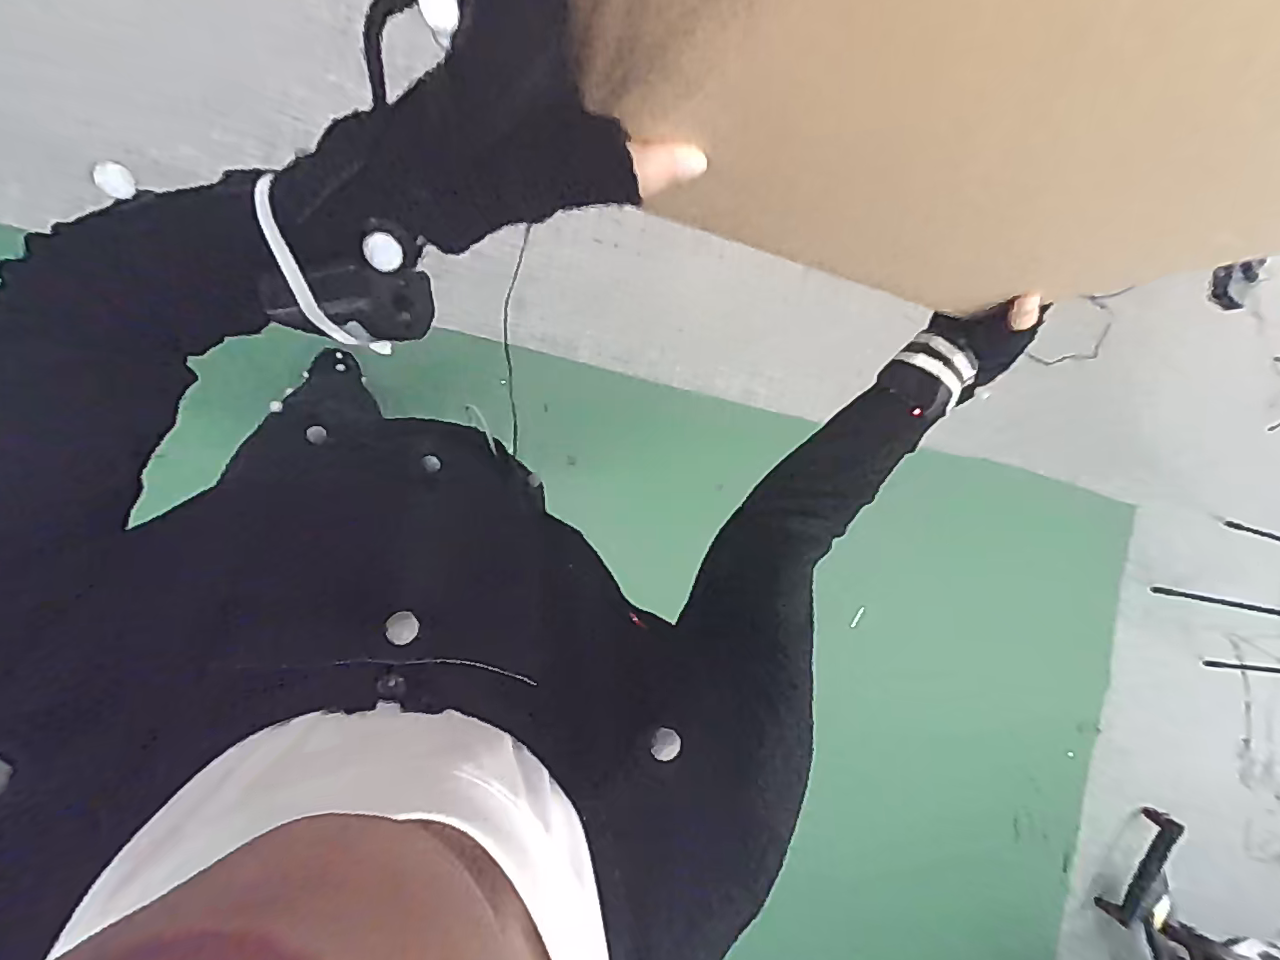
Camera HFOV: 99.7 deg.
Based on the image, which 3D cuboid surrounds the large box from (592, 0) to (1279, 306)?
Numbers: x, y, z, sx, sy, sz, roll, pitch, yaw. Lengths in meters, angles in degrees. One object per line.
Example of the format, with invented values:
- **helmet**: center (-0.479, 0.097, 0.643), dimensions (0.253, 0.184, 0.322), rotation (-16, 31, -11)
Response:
- **large box**: center (0.221, -0.292, 0.241), dimensions (0.408, 0.320, 0.320), rotation (-2, 93, -37)
